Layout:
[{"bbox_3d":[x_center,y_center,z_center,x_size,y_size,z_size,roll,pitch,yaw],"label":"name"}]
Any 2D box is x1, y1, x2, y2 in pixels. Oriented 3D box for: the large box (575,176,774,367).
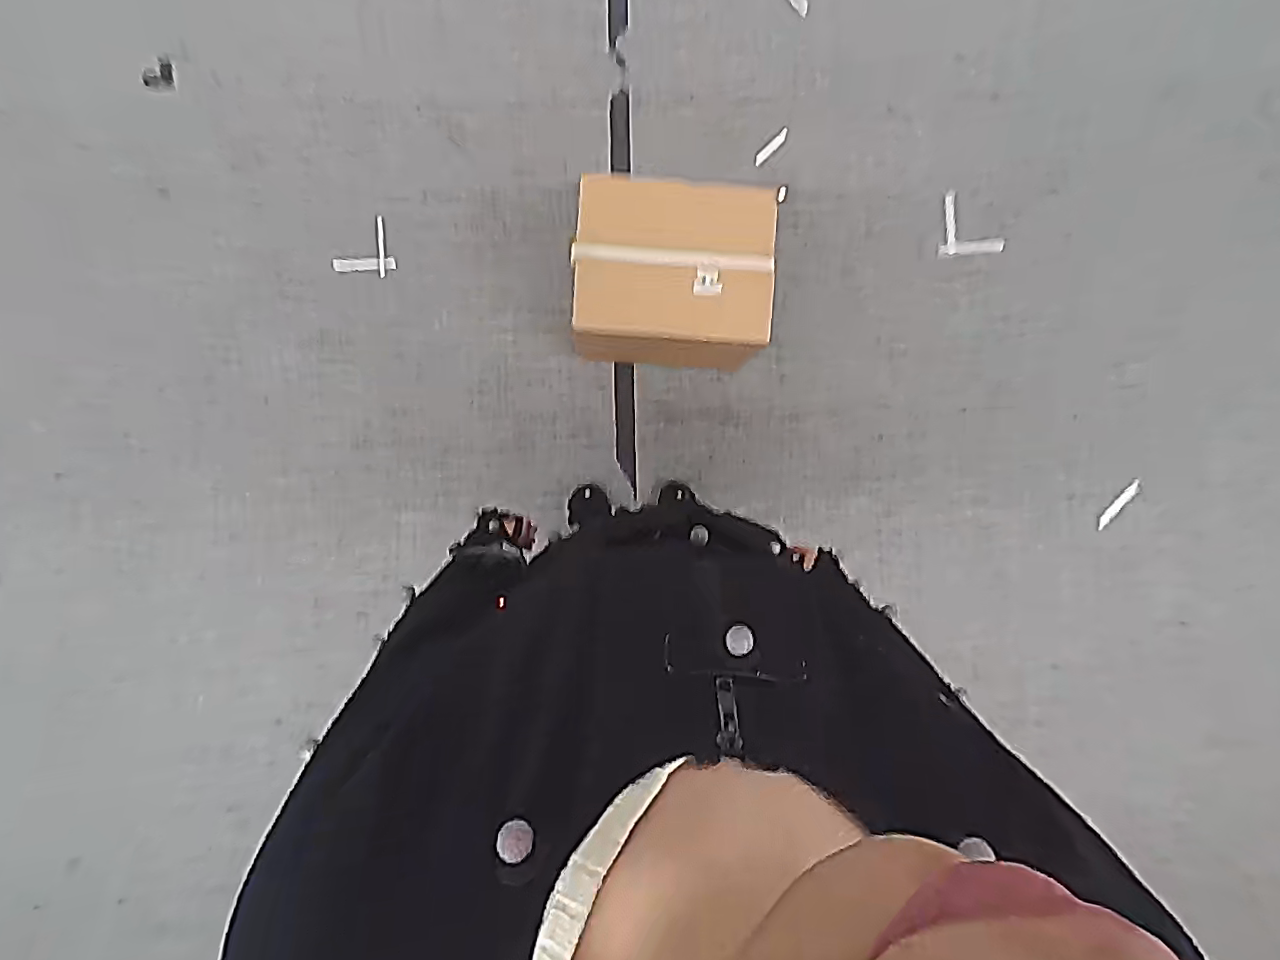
[{"bbox_3d":[0.060,-0.449,1.239,0.408,0.320,0.320,3,91,-4],"label":"large box"}]
